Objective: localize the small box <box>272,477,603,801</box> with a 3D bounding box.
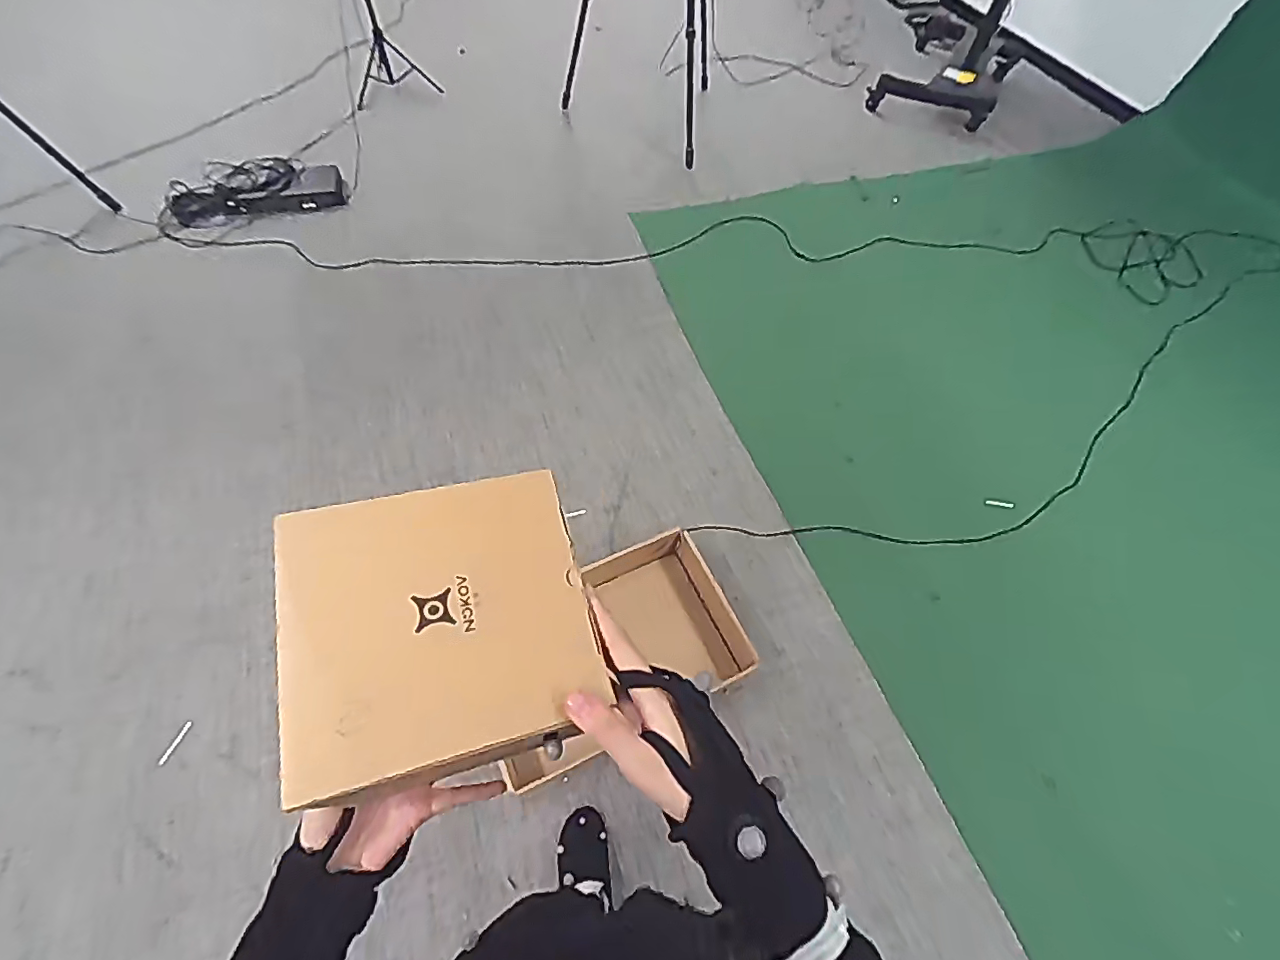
[{"bbox_3d":[-0.141,0.120,0.398,0.179,0.176,0.168,-10,63,-20],"label":"small box"}]
